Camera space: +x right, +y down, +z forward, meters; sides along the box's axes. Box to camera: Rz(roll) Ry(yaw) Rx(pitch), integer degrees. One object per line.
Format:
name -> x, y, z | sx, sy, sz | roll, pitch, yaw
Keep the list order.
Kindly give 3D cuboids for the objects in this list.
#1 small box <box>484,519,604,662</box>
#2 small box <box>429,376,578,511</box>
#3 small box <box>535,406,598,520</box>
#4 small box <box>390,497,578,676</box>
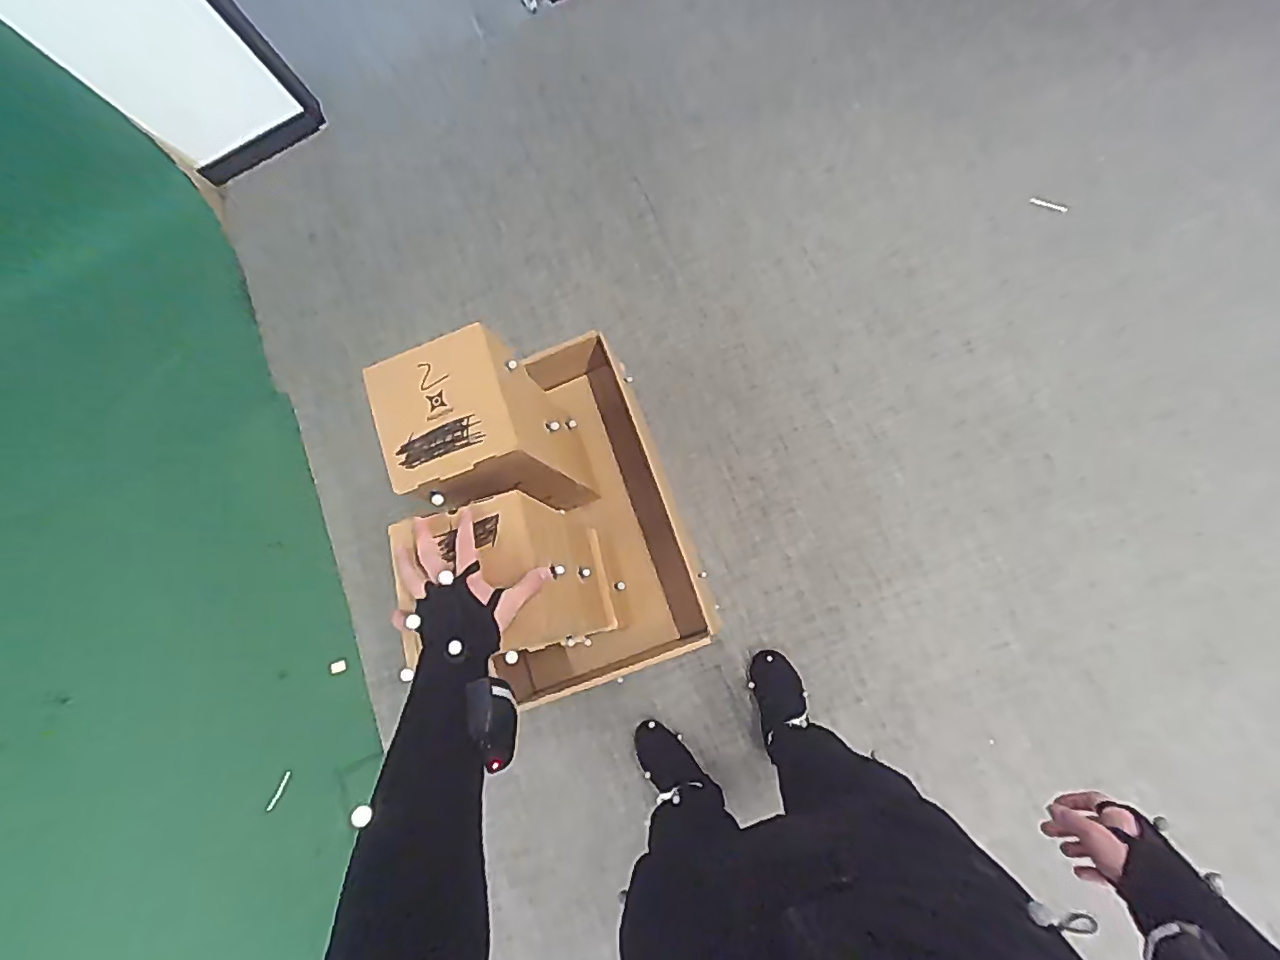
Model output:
small box -> -0.164, 0.174, 0.852 | 0.168, 0.176, 0.179 | -15, 75, 5
small box -> -0.220, -0.043, 0.908 | 0.168, 0.176, 0.179 | -22, 79, 4
small box -> -0.197, -0.018, 1.066 | 0.168, 0.176, 0.179 | -21, 78, 5
small box -> -0.191, 0.138, 0.694 | 0.168, 0.176, 0.179 | -15, 76, 5
